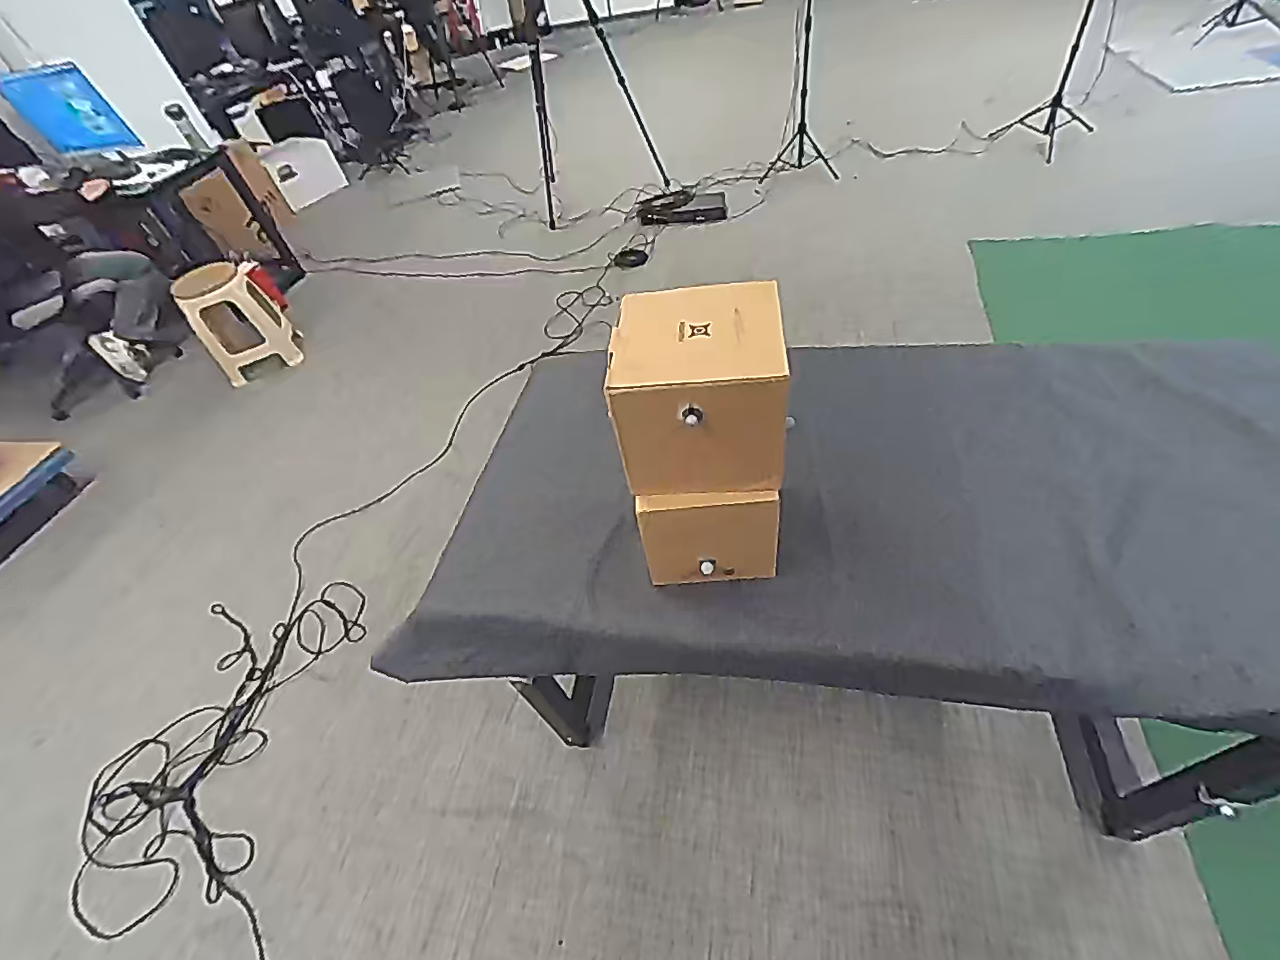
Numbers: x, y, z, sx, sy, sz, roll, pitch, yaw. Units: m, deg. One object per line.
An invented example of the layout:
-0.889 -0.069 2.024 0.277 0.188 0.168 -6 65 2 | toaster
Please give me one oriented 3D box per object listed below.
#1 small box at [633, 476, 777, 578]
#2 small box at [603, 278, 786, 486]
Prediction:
0.086 0.012 0.729 0.168 0.176 0.179 -5 49 7 | small box
0.067 -0.105 0.617 0.179 0.176 0.168 -2 50 9 | small box
